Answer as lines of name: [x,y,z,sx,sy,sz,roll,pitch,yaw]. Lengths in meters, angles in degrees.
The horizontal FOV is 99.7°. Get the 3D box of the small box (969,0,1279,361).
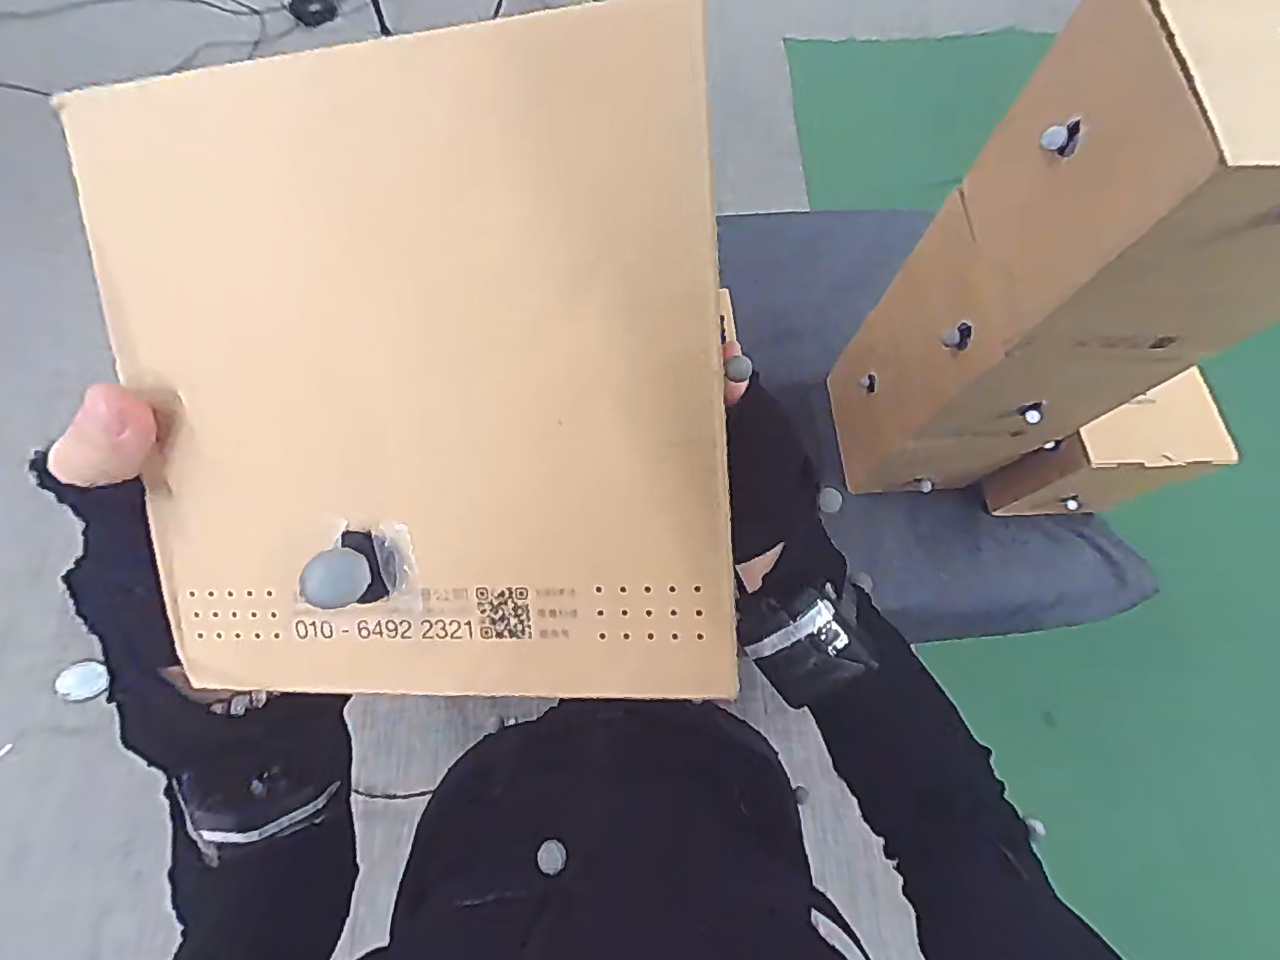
small box: [0.359,-0.203,0.367,0.168,0.176,0.179,0,70,0]

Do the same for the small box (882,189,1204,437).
small box: [0.359,-0.149,0.522,0.168,0.176,0.179,-1,70,-1]
